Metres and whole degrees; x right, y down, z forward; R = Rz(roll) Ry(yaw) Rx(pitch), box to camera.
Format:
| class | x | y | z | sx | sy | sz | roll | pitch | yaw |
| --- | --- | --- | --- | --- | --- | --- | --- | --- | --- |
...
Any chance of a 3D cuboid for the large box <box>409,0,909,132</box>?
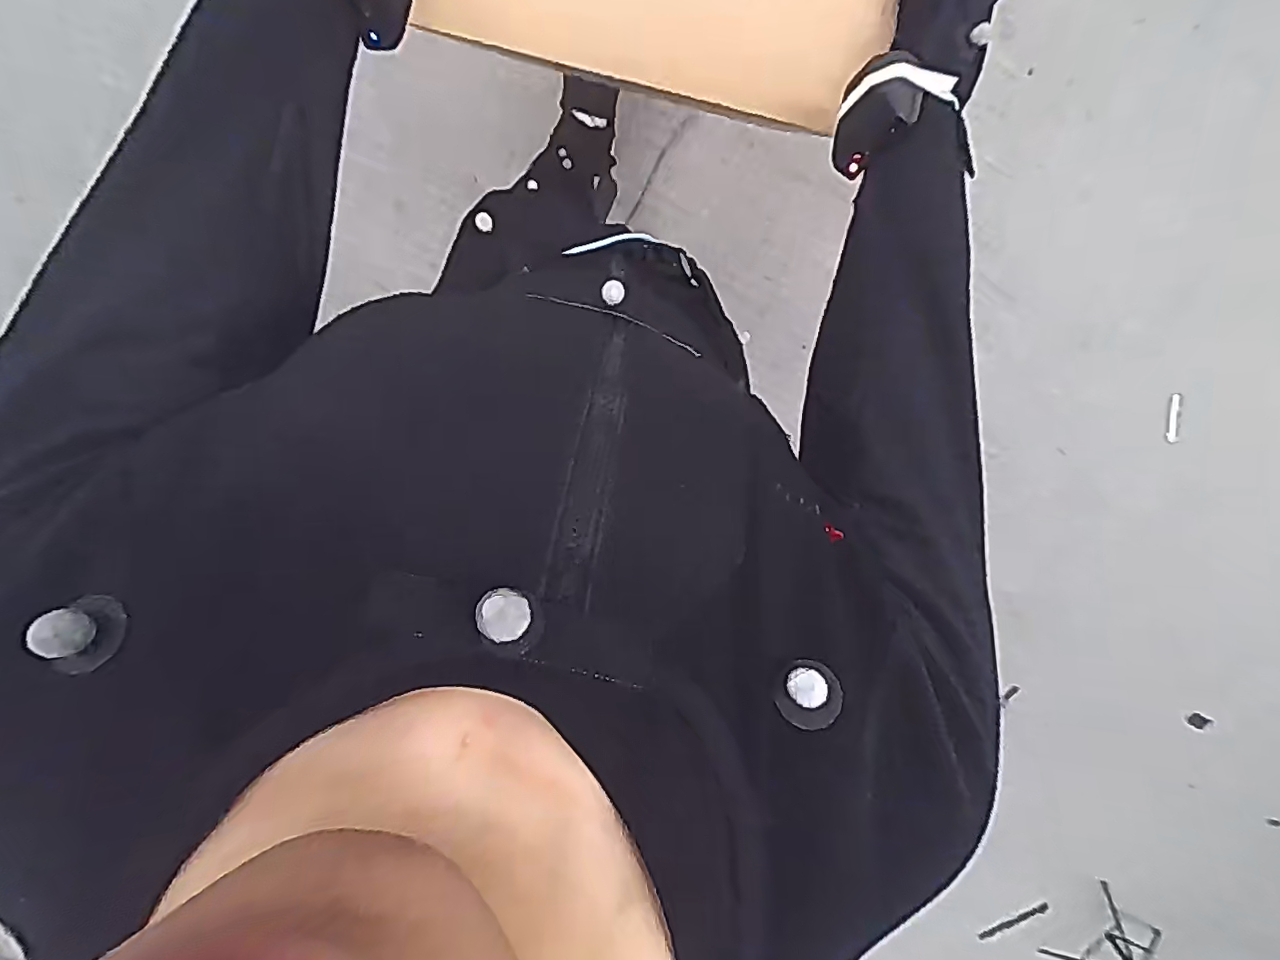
| class | x | y | z | sx | sy | sz | roll | pitch | yaw |
| --- | --- | --- | --- | --- | --- | --- | --- | --- | --- |
| large box | 0.033 | -0.548 | 0.502 | 0.408 | 0.320 | 0.320 | 10 | 125 | -7 |
